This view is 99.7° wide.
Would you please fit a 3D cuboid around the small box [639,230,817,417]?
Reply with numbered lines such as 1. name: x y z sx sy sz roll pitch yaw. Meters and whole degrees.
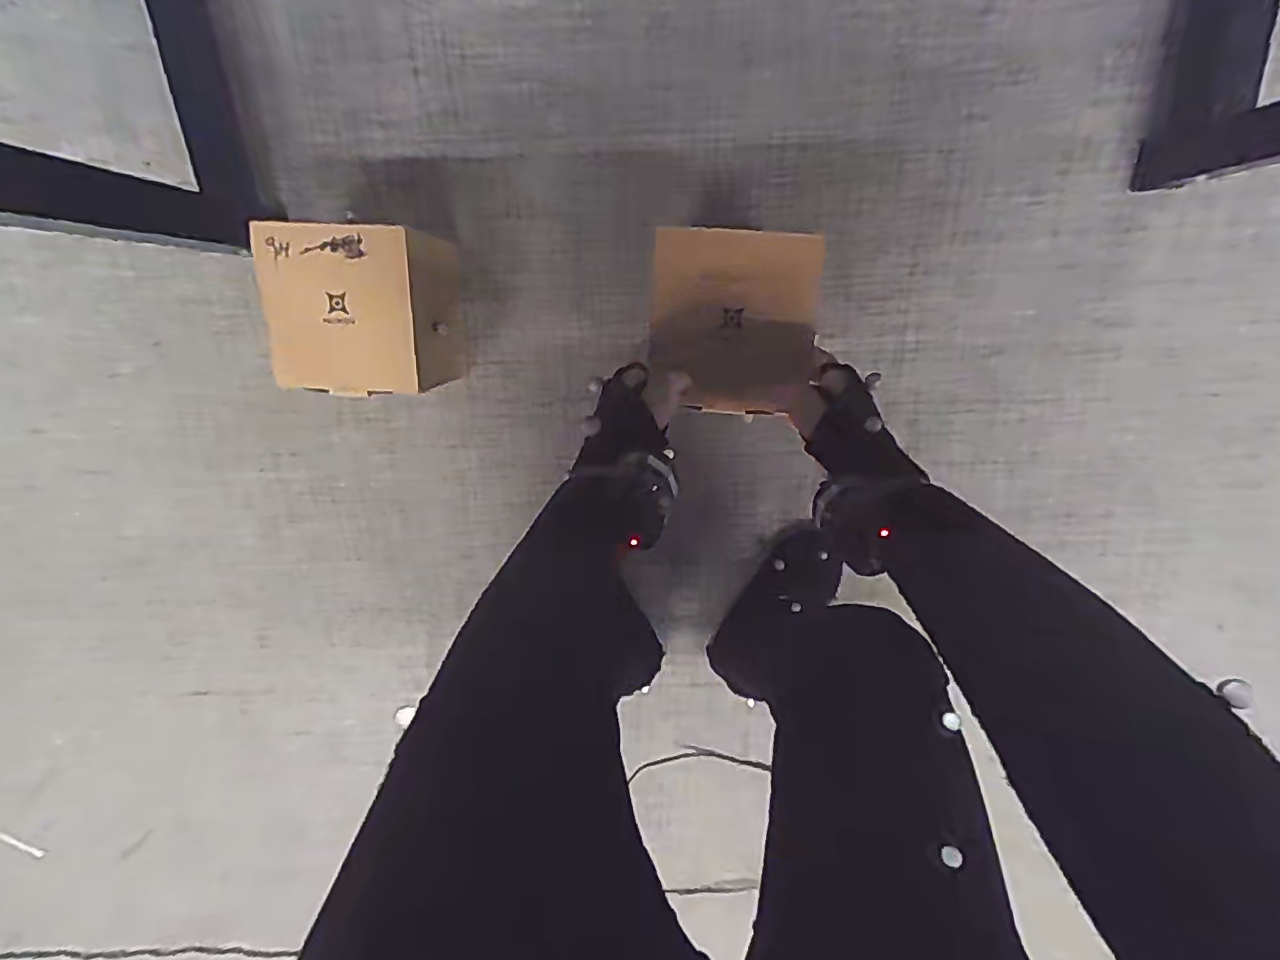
1. small box: 0.091 -0.168 0.617 0.168 0.176 0.179 4 99 4
